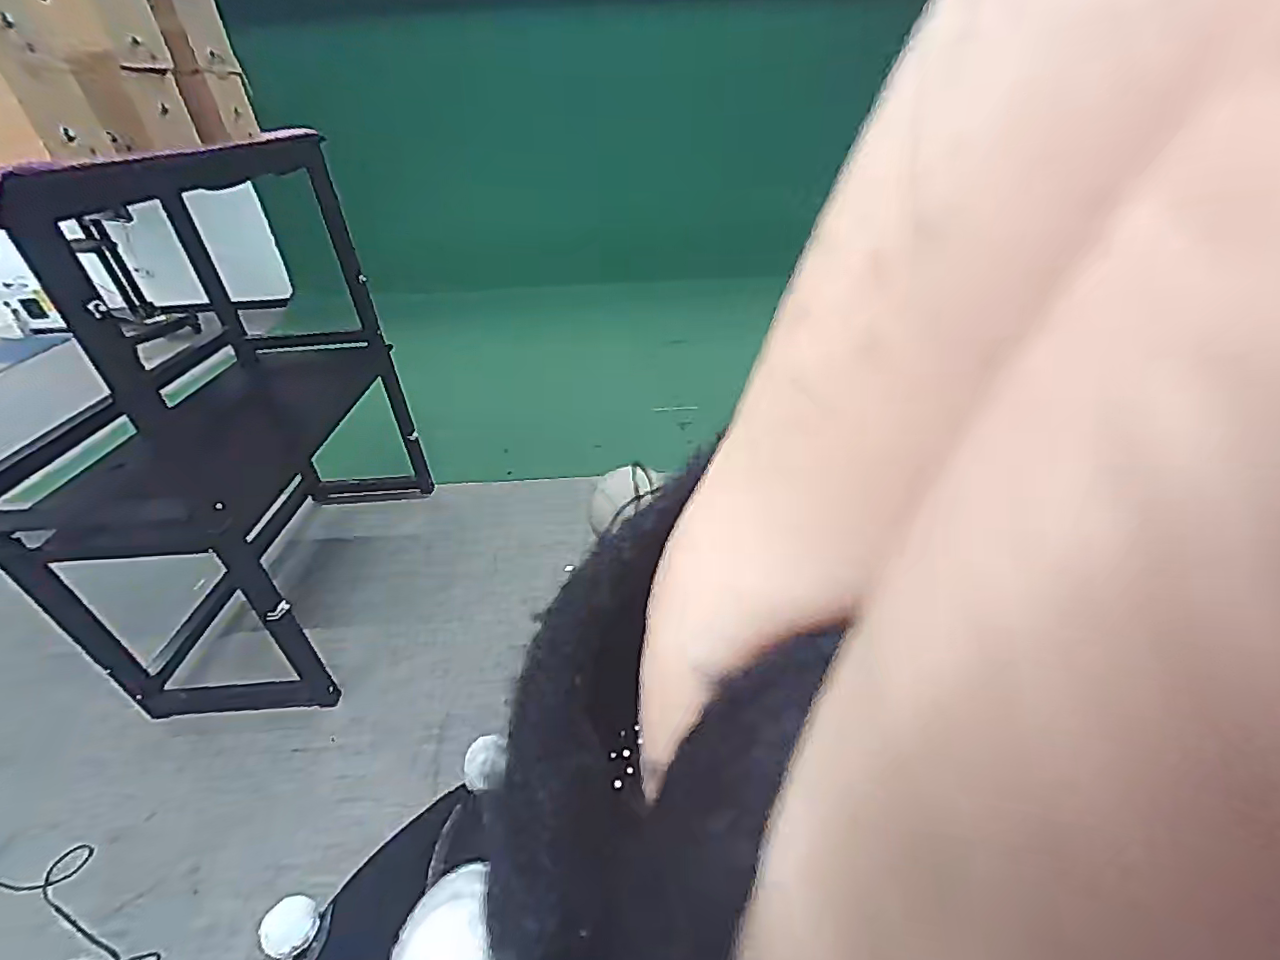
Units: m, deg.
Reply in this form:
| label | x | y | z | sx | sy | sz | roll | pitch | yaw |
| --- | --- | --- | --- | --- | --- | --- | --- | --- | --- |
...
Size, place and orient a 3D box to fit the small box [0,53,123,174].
| label | x | y | z | sx | sy | sz | roll | pitch | yaw |
| --- | --- | --- | --- | --- | --- | --- | --- | --- | --- |
| small box | -1.151 | -0.677 | 1.009 | 0.179 | 0.176 | 0.168 | -6 | 35 | -3 |

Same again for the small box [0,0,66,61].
| label | x | y | z | sx | sy | sz | roll | pitch | yaw |
| --- | --- | --- | --- | --- | --- | --- | --- | --- | --- |
| small box | -1.170 | -0.812 | 0.916 | 0.179 | 0.176 | 0.168 | -6 | 35 | -4 |

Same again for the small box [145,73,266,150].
| label | x | y | z | sx | sy | sz | roll | pitch | yaw |
| --- | --- | --- | --- | --- | --- | --- | --- | --- | --- |
| small box | -1.199 | -1.032 | 1.511 | 0.179 | 0.176 | 0.168 | -2 | 36 | -1 |

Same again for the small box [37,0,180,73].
| label | x | y | z | sx | sy | sz | roll | pitch | yaw |
| --- | --- | --- | --- | --- | --- | --- | --- | --- | --- |
| small box | -1.183 | -1.003 | 1.184 | 0.179 | 0.176 | 0.168 | -1 | 36 | 1 |

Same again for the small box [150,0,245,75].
| label | x | y | z | sx | sy | sz | roll | pitch | yaw |
| --- | --- | --- | --- | --- | --- | --- | --- | --- | --- |
| small box | -1.203 | -1.170 | 1.424 | 0.179 | 0.176 | 0.168 | 0 | 37 | 1 |
